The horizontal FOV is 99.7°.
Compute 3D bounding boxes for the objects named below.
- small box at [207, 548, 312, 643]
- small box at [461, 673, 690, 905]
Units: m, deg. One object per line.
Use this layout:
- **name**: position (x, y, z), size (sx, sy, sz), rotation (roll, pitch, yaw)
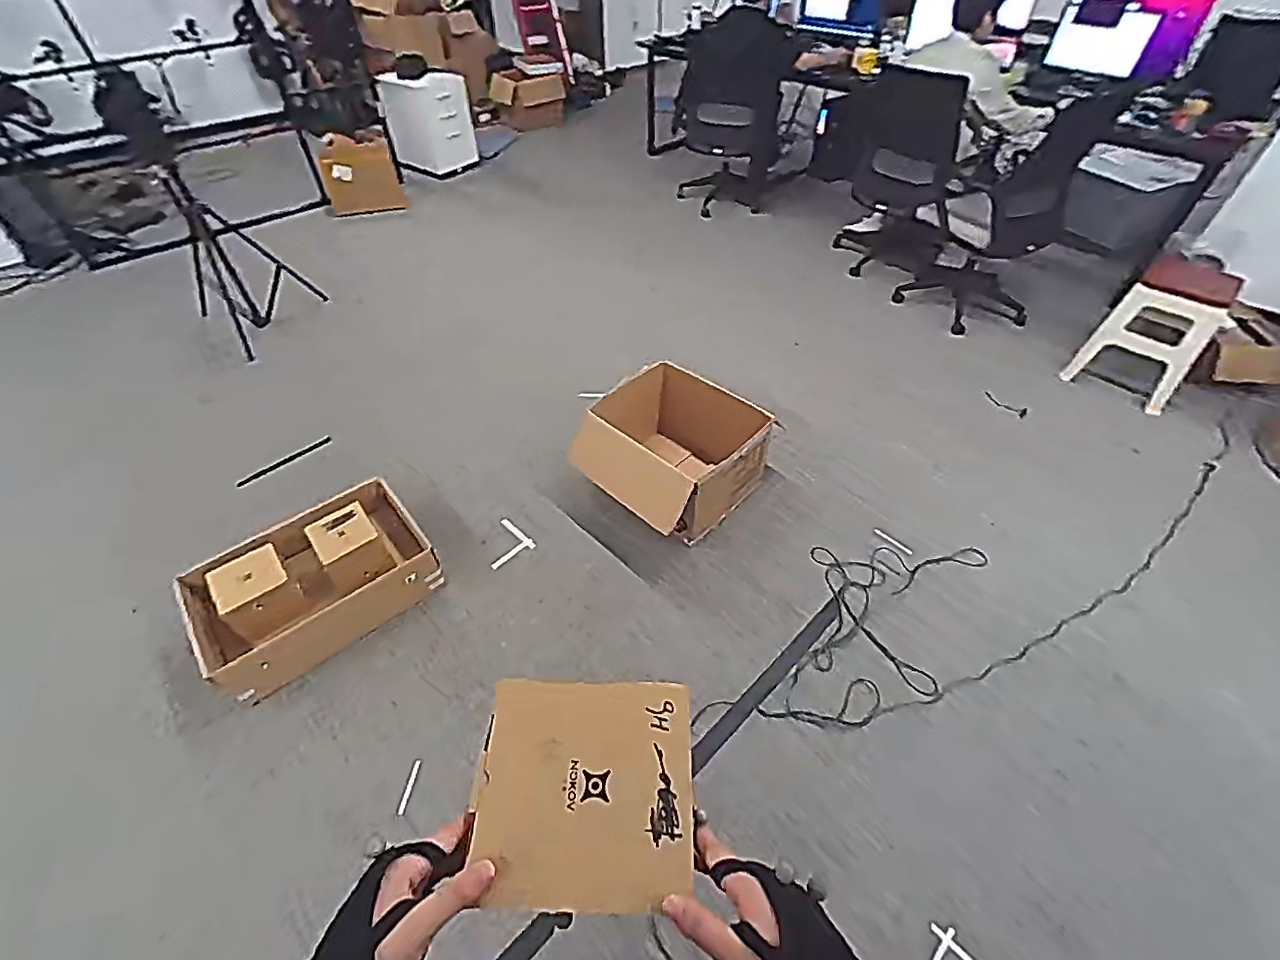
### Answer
- **small box**: position (-1.102, 0.340, 1.573), size (0.179, 0.176, 0.168), rotation (-31, 56, -27)
- **small box**: position (-0.043, 0.294, 0.512), size (0.179, 0.176, 0.168), rotation (1, 53, 2)
